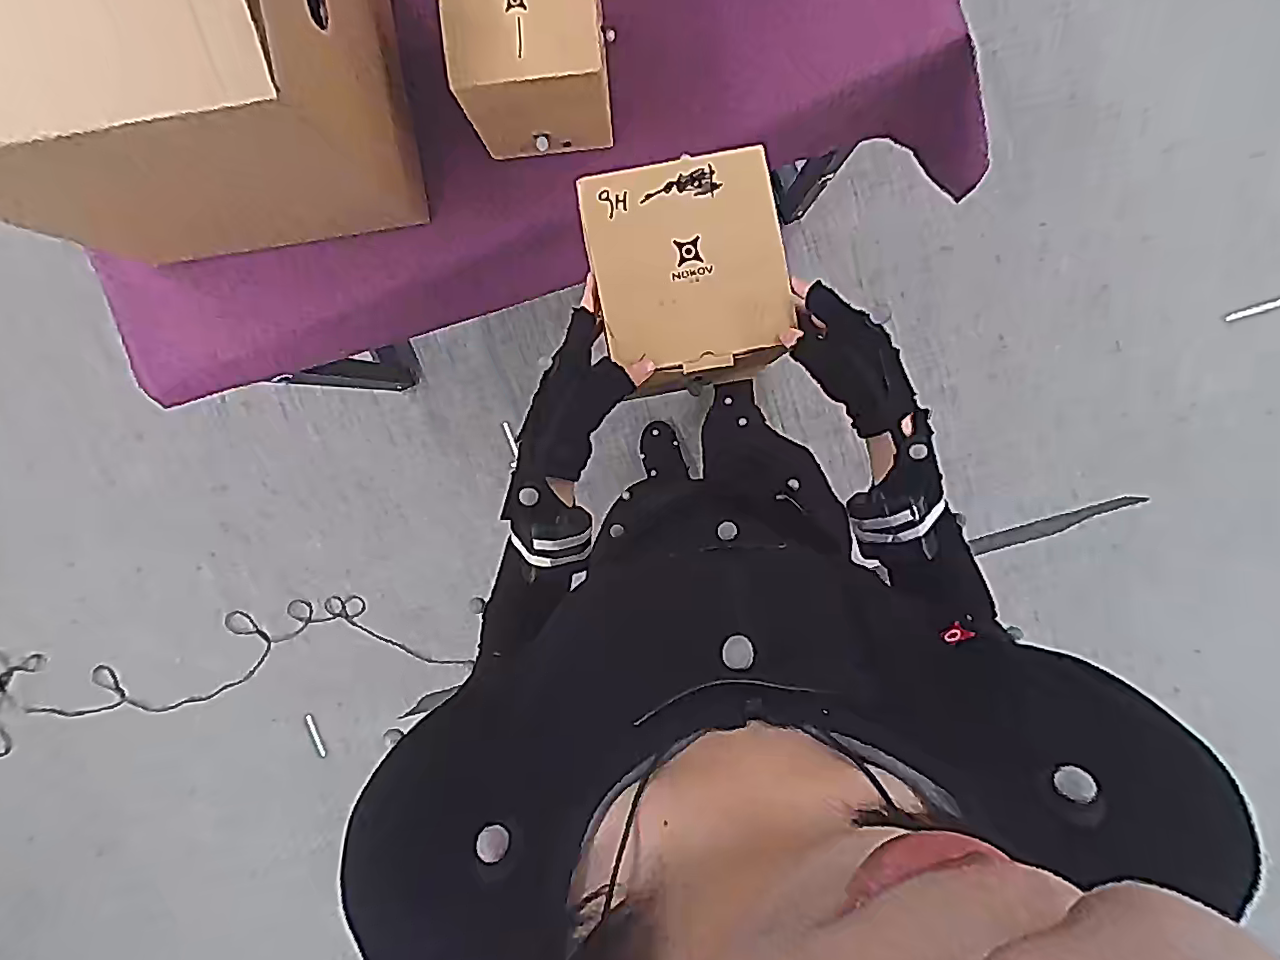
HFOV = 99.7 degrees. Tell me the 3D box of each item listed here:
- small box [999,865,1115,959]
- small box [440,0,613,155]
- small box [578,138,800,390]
[{"bbox_3d":[1.182,1.275,1.555,0.168,0.176,0.179,35,95,-4],"label":"small box"},{"bbox_3d":[-0.124,-0.516,0.632,0.168,0.176,0.179,-4,97,2],"label":"small box"},{"bbox_3d":[0.041,-0.191,0.534,0.168,0.176,0.179,-11,92,-2],"label":"small box"}]
